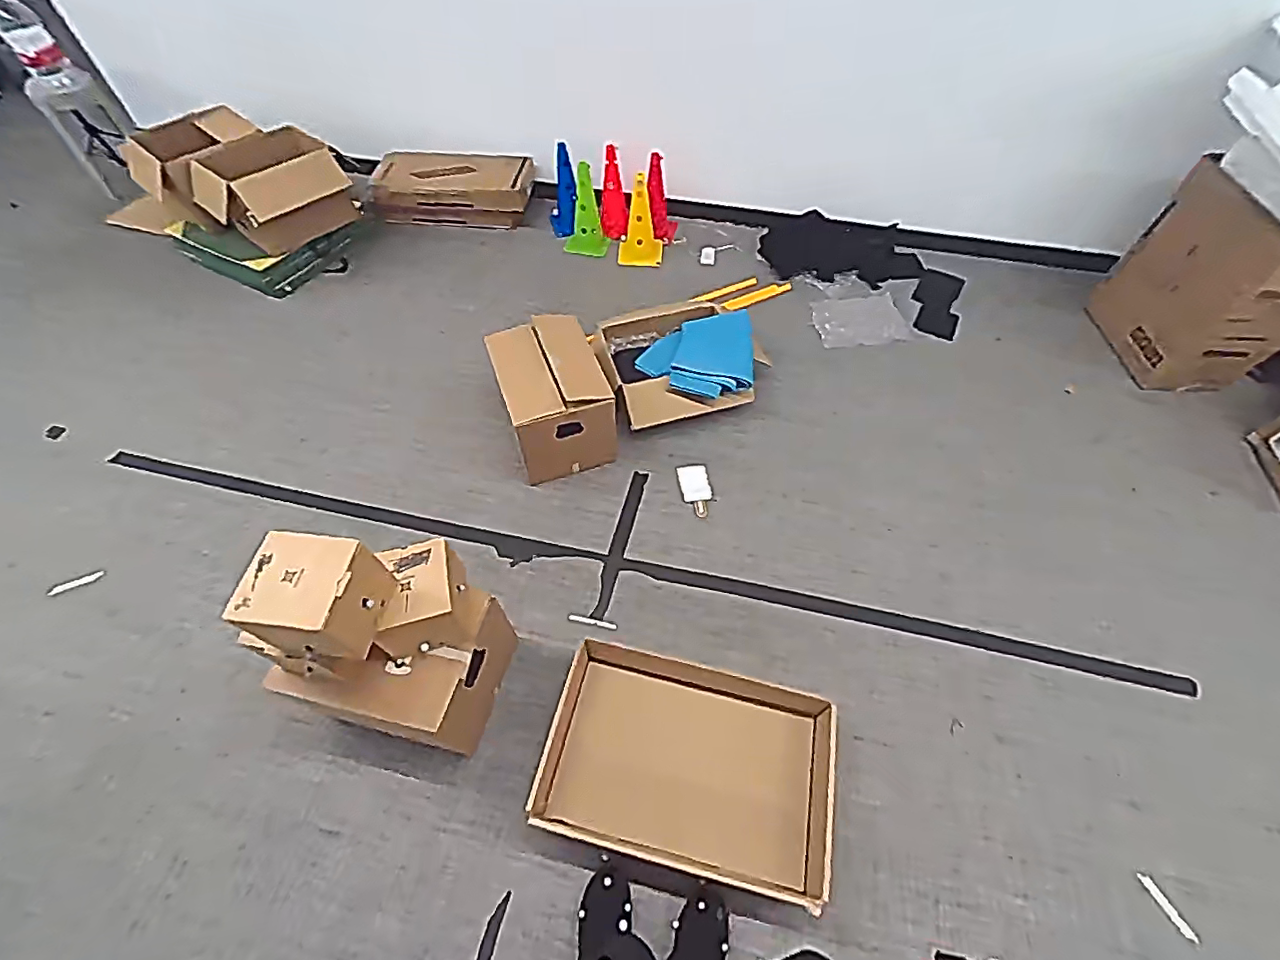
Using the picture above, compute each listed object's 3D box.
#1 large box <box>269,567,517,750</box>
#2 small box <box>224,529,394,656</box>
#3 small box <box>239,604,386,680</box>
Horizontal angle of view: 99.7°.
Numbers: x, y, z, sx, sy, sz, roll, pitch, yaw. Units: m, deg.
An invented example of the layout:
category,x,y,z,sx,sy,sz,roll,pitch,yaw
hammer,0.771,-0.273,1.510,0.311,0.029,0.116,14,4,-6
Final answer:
category,x,y,z,sx,sy,sz,roll,pitch,yaw
large box,-0.560,0.431,1.318,0.408,0.320,0.320,11,57,6
small box,-0.579,0.208,0.978,0.179,0.176,0.168,6,56,5
small box,-0.659,0.295,1.118,0.168,0.176,0.179,11,55,5
